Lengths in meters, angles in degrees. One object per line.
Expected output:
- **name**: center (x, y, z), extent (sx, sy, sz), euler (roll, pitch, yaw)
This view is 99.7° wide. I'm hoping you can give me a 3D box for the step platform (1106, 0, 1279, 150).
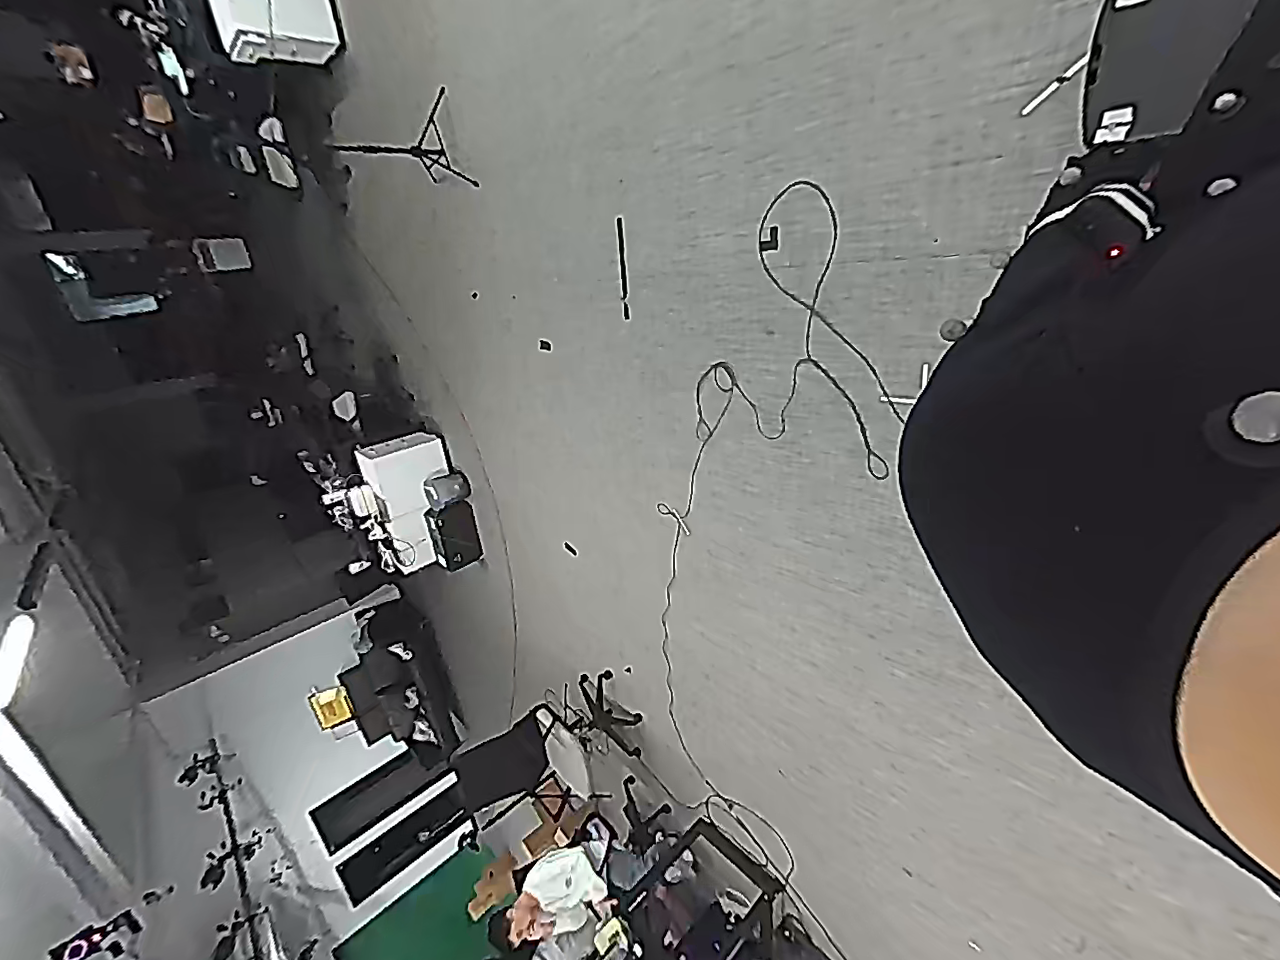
- **step platform**: center (1.106, -0.695, 0.758), extent (0.684, 0.204, 0.286), euler (16, 122, 44)
